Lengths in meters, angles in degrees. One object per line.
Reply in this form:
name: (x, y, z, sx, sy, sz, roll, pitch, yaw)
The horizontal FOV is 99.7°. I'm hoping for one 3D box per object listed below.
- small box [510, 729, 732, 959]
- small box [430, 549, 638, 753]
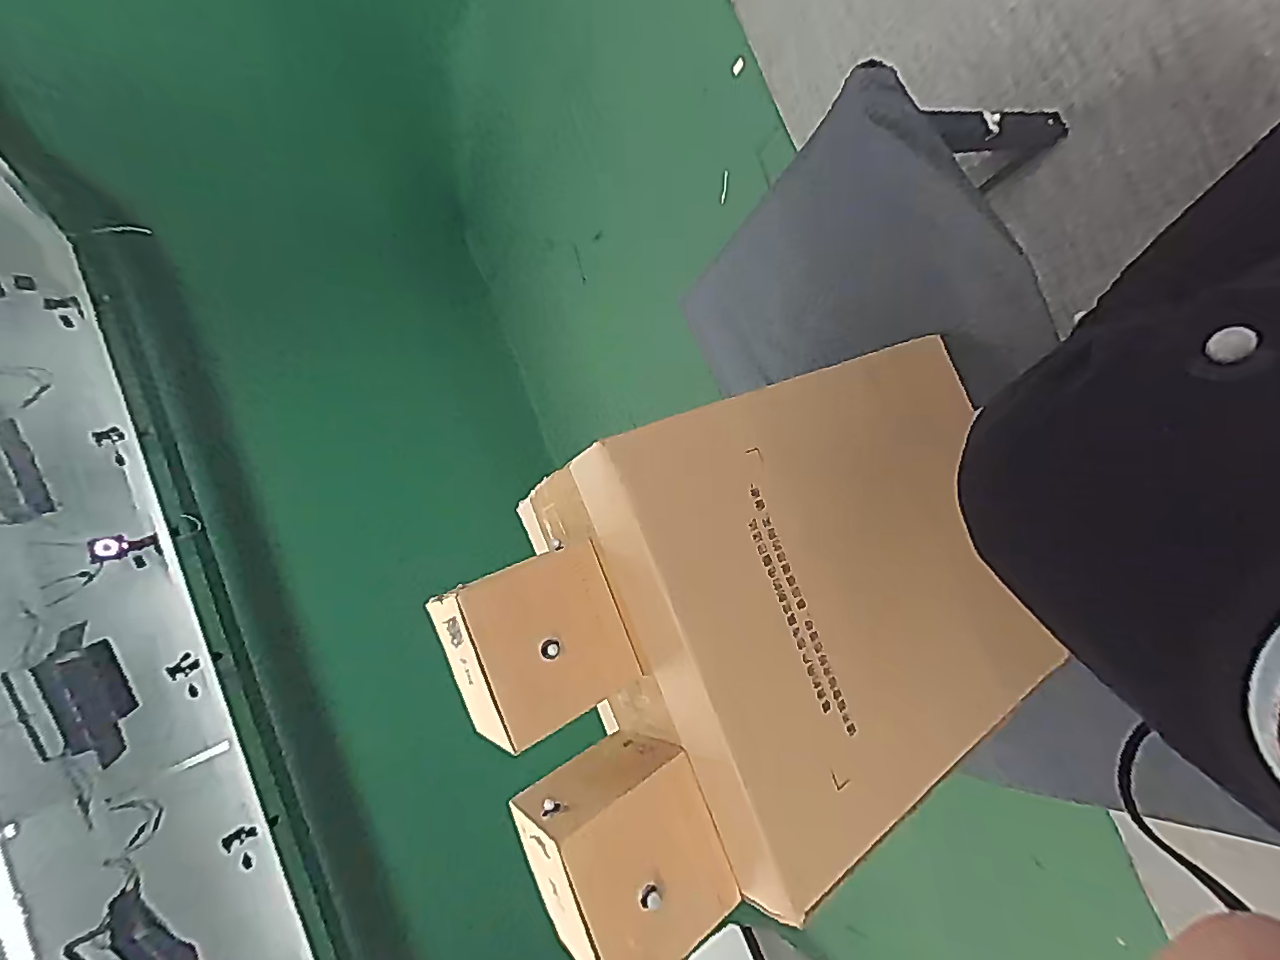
small box: (-0.023, 0.425, 0.628, 0.168, 0.176, 0.179, -27, 84, 57)
small box: (-0.131, 0.194, 0.662, 0.168, 0.176, 0.179, -26, 86, 57)
